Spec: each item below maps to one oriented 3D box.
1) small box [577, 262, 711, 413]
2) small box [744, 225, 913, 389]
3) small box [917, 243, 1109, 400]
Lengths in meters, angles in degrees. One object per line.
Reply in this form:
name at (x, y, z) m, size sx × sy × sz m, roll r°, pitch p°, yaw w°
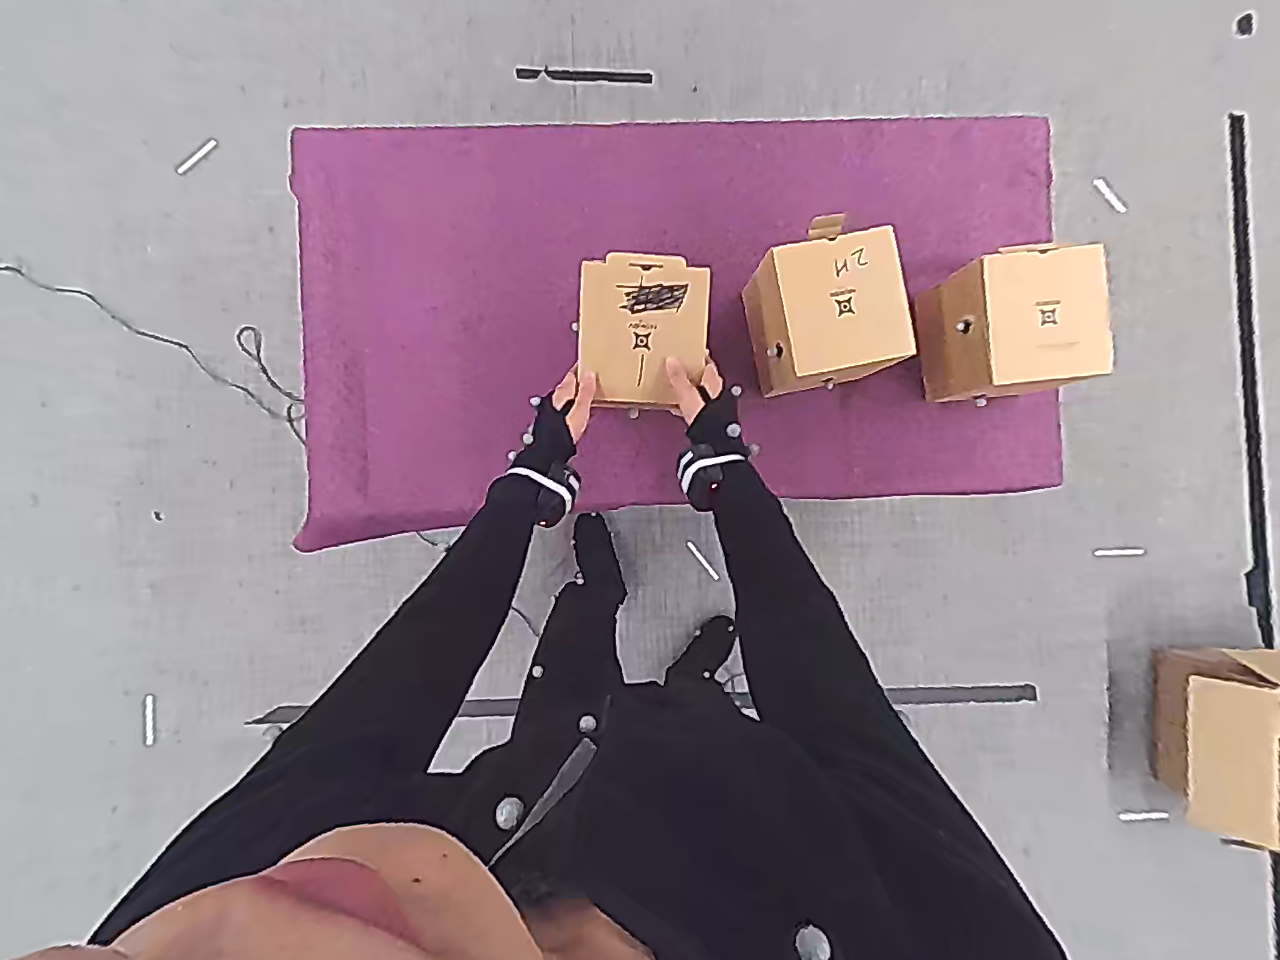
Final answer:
small box at (0.001, -0.191, 0.772) m, size 0.168 × 0.176 × 0.179 m, roll 3°, pitch 95°, yaw -2°
small box at (0.263, -0.237, 0.789) m, size 0.168 × 0.176 × 0.179 m, roll -11°, pitch 90°, yaw -3°
small box at (0.535, -0.224, 0.800) m, size 0.168 × 0.176 × 0.179 m, roll -6°, pitch 89°, yaw -1°
